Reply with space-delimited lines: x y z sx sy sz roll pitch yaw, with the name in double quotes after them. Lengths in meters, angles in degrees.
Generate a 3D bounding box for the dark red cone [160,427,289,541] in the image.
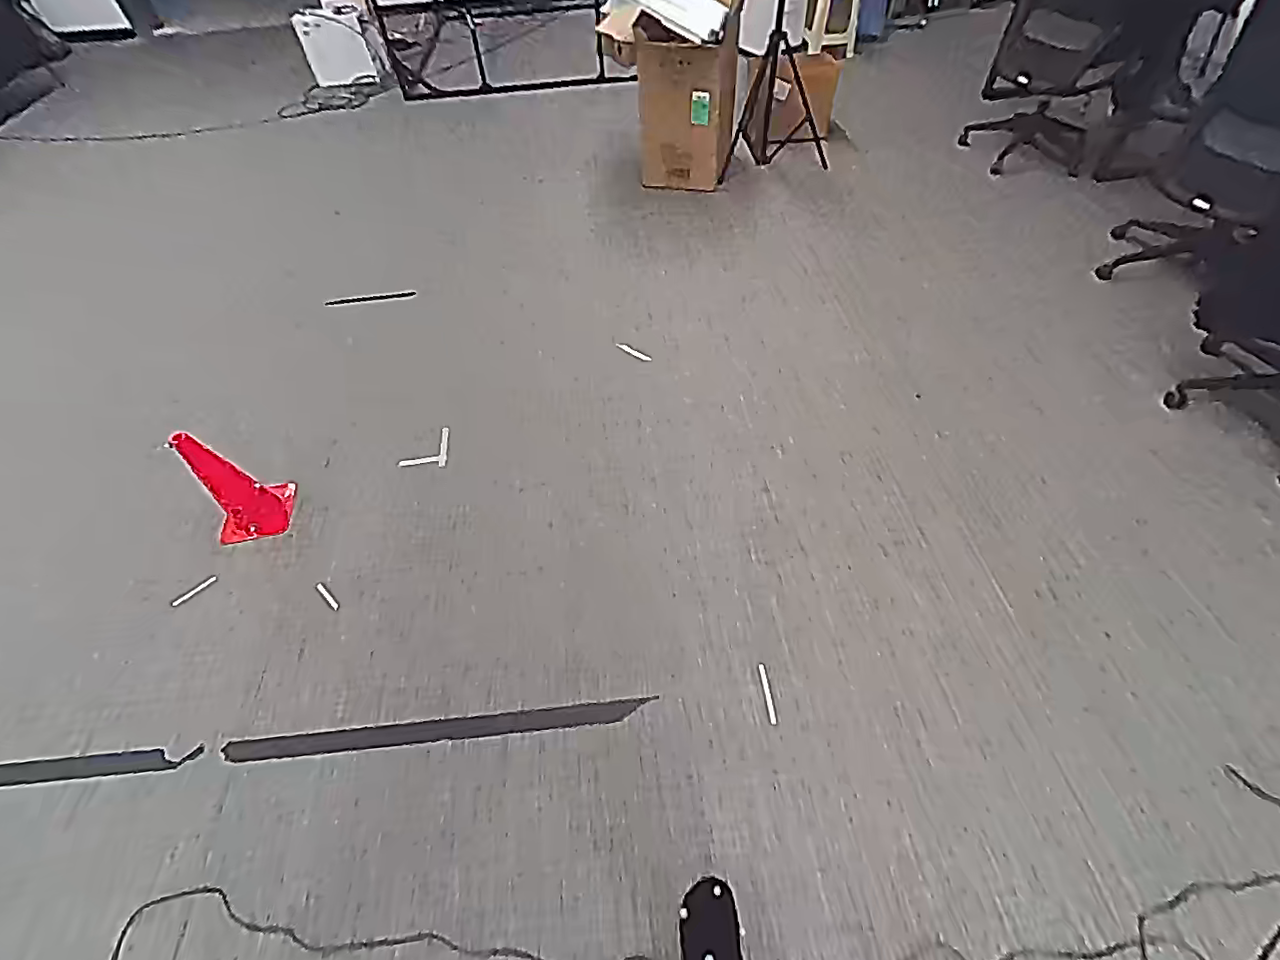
-1.205 -0.006 1.538 0.202 0.394 0.201 -12 54 -6 "dark red cone"
